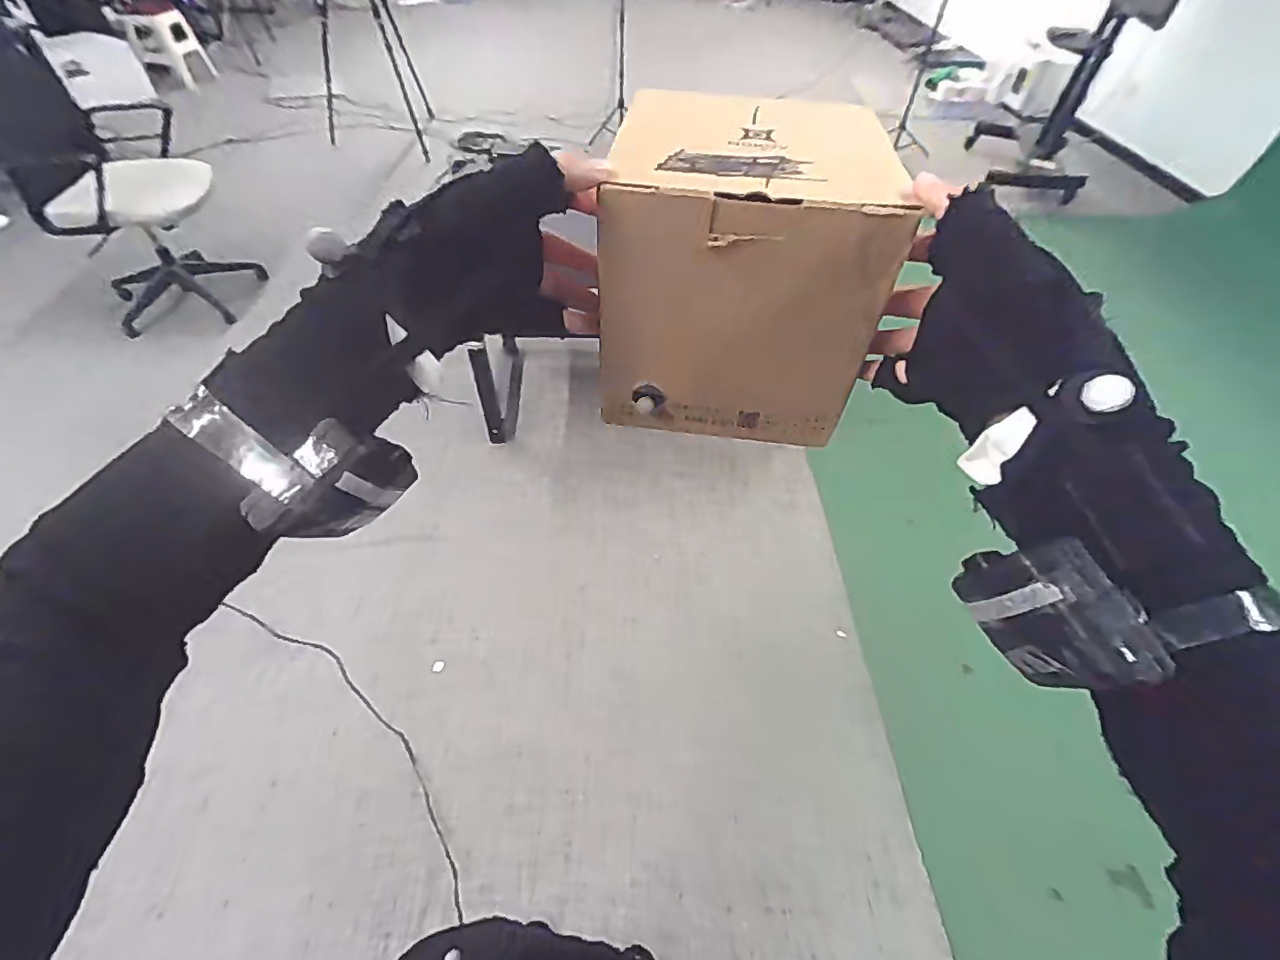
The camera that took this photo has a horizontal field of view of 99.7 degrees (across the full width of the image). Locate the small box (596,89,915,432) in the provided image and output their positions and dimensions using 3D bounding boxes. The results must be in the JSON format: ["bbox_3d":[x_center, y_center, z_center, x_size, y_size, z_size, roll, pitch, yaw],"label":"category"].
[{"bbox_3d":[0.065,-0.154,0.388,0.168,0.176,0.179,6,49,2],"label":"small box"}]
